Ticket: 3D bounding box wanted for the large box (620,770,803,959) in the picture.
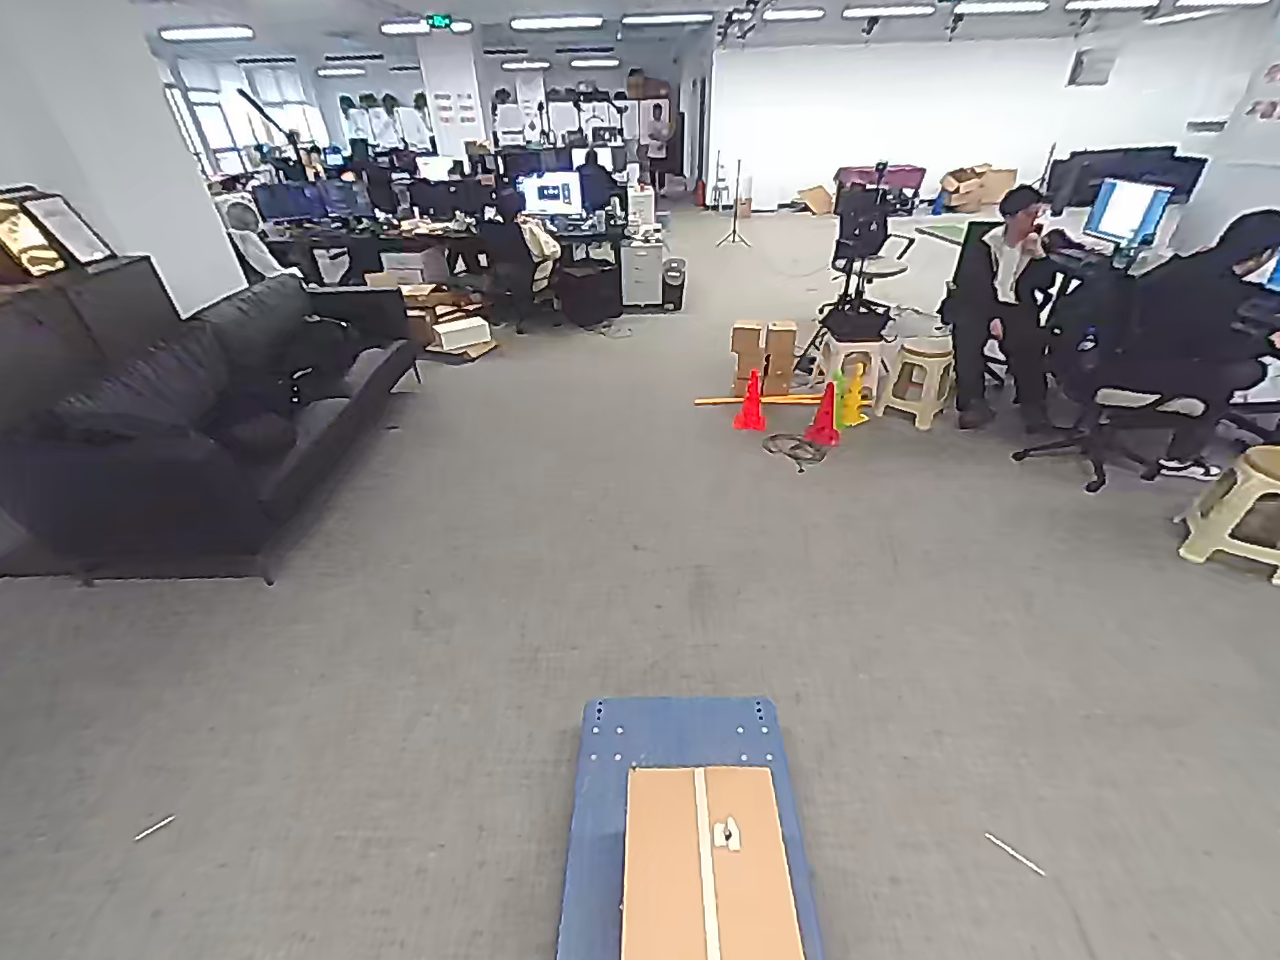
[{"bbox_3d":[0.128,0.875,1.103,0.320,0.320,0.408,-1,33,1],"label":"large box"}]
